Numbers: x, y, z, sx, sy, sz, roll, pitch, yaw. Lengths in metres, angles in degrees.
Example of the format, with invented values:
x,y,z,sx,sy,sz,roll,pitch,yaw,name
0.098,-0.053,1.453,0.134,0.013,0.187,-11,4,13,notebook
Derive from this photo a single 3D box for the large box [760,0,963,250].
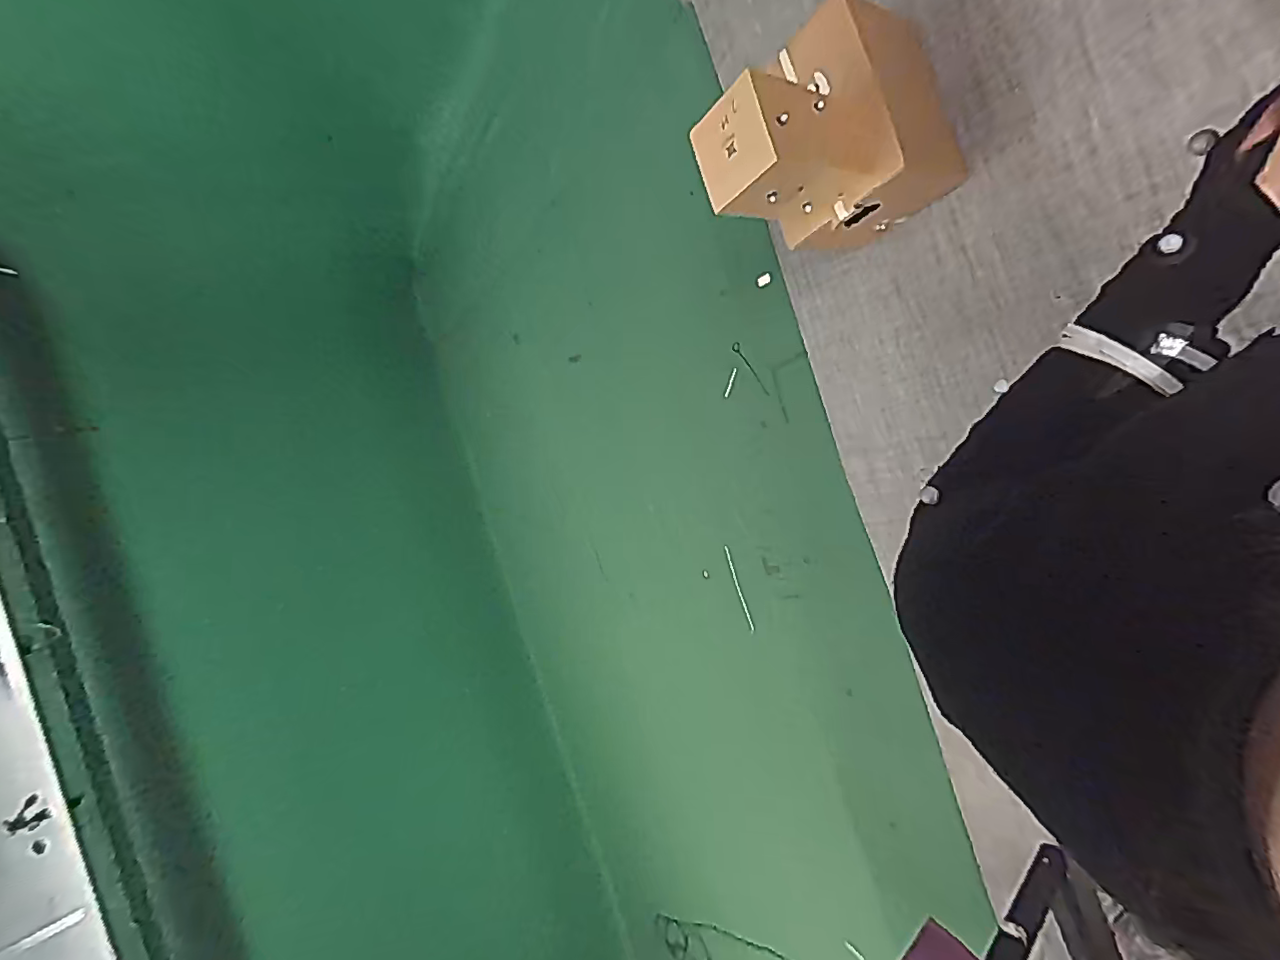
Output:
x,y,z,sx,sy,sz,roll,pitch,yaw,name
0.505,-0.826,1.313,0.320,0.320,0.408,-21,87,54,large box

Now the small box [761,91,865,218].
x,y,z,sx,sy,sz,roll,pitch,yaw,name
0.352,-0.686,1.158,0.168,0.176,0.179,-17,90,54,small box

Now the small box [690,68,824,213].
x,y,z,sx,sy,sz,roll,pitch,yaw,name
0.230,-0.646,1.053,0.168,0.176,0.179,-17,90,53,small box
